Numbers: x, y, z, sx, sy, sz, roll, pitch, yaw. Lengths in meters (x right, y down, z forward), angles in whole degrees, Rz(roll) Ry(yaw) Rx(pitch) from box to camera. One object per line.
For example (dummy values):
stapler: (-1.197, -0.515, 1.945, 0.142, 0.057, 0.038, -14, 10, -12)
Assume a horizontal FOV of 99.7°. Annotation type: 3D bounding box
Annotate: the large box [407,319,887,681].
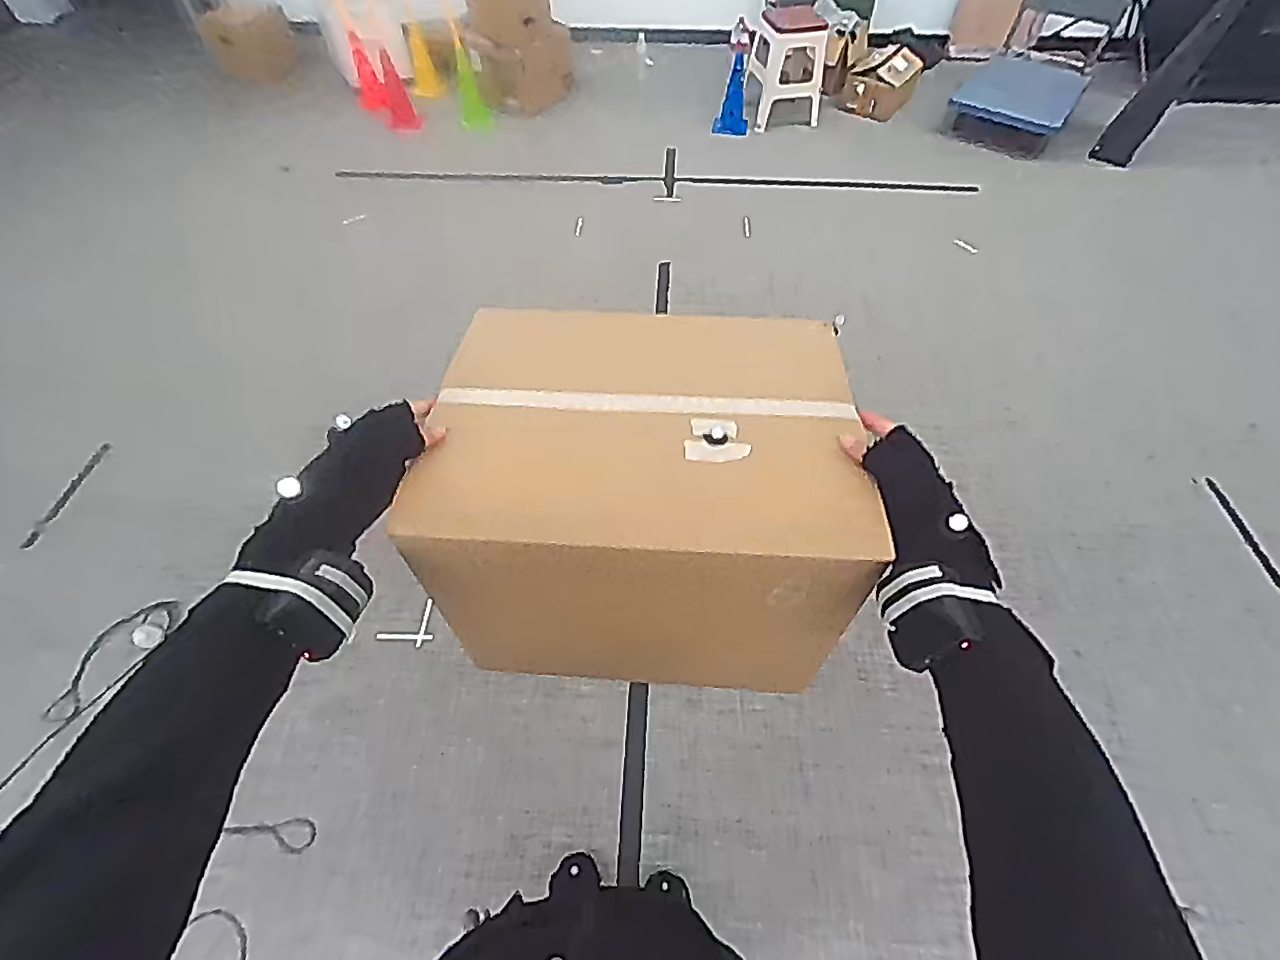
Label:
large box: (0.009, 0.029, 0.647, 0.408, 0.320, 0.320, 3, 51, 2)
